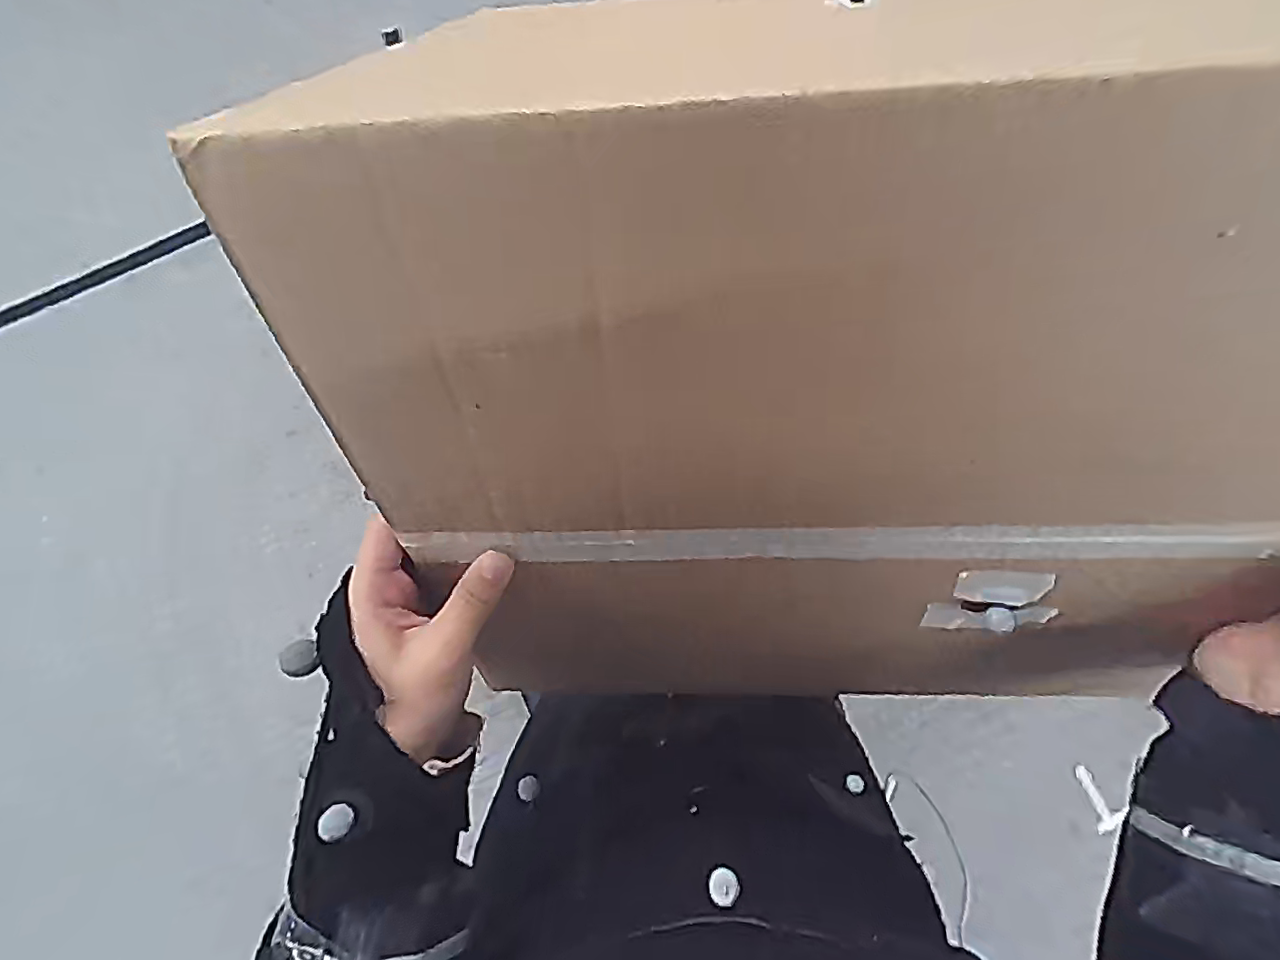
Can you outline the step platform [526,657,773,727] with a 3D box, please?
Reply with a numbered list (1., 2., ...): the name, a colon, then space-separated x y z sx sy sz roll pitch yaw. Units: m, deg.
1. step platform: 0.071 0.329 1.279 0.684 0.204 0.286 -18 83 -2
